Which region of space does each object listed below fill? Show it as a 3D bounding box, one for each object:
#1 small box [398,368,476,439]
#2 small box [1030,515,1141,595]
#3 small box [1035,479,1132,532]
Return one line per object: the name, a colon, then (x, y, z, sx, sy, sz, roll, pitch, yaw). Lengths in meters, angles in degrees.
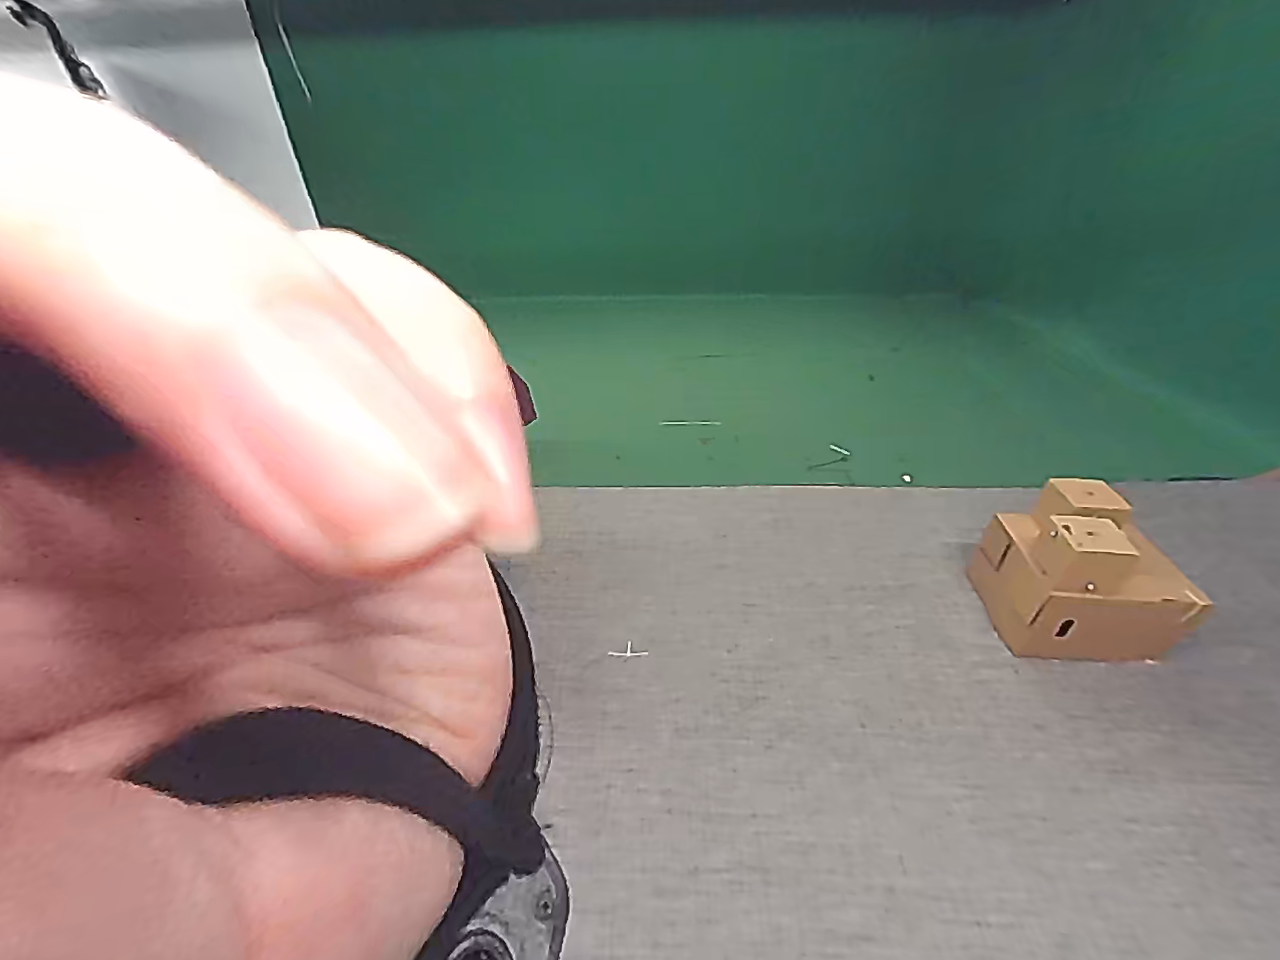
small box: (-0.630, -0.243, 1.703, 0.168, 0.176, 0.179, -1, 35, 3)
small box: (1.335, 0.229, 1.635, 0.179, 0.176, 0.168, 4, 35, 7)
small box: (1.466, 0.114, 1.807, 0.179, 0.176, 0.168, 3, 34, 4)
